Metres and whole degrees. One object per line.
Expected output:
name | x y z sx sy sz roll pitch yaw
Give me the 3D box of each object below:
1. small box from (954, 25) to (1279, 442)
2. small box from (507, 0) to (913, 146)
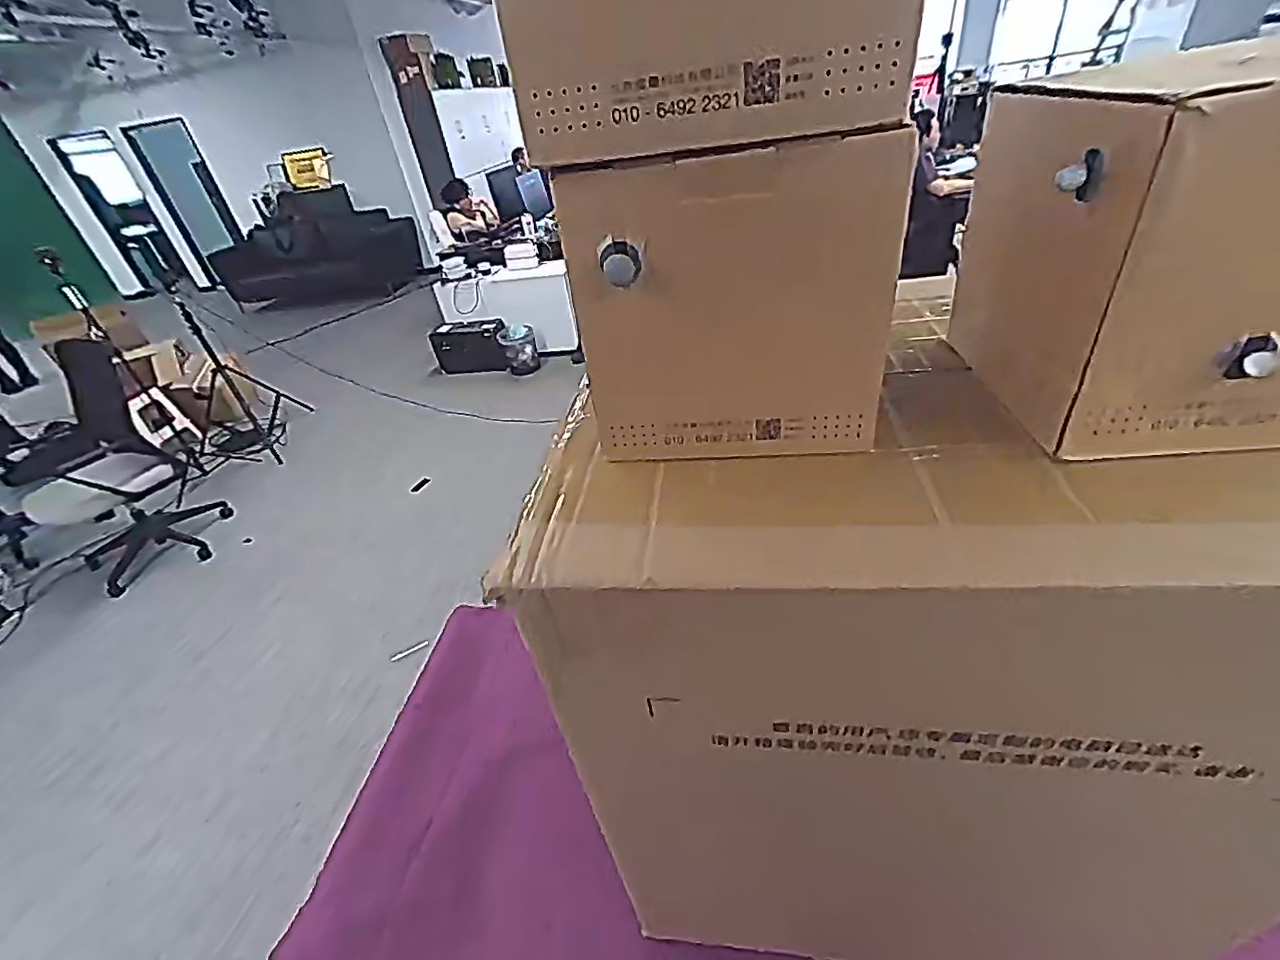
small box | 0.302 -0.139 0.301 0.168 0.176 0.179 -4 36 10
small box | 0.028 -0.265 0.254 0.168 0.176 0.179 -3 36 7
